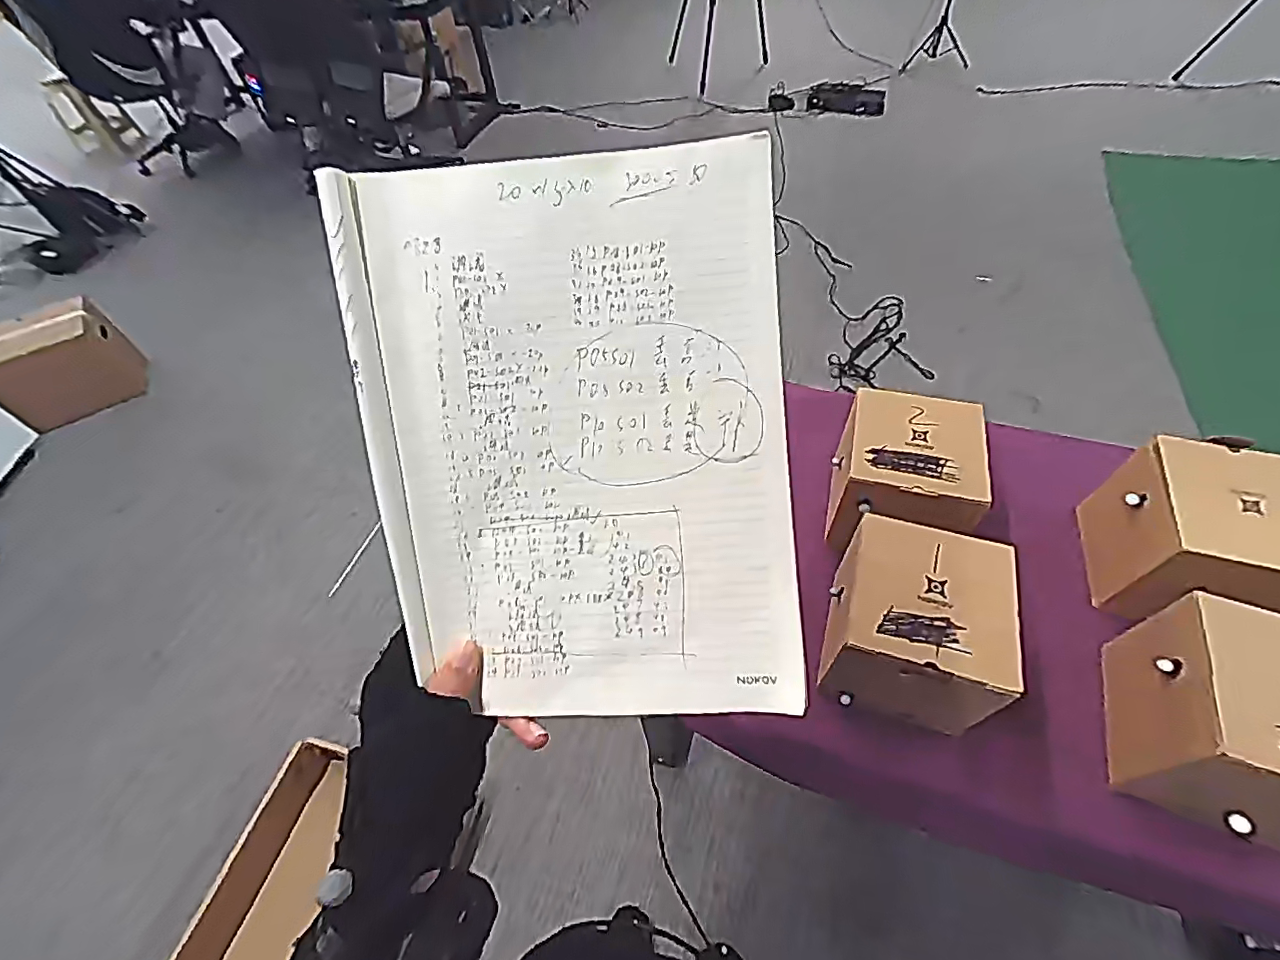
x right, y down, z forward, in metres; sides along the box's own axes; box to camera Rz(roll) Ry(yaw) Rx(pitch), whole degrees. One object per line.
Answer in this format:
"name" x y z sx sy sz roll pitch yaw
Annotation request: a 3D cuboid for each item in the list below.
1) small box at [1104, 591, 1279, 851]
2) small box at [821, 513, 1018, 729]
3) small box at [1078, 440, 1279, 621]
"small box" 0.625 0.251 0.562 0.168 0.176 0.179 18 56 18
"small box" 0.324 0.172 0.647 0.168 0.176 0.179 15 55 16
"small box" 0.705 0.079 0.690 0.168 0.176 0.179 13 55 14
